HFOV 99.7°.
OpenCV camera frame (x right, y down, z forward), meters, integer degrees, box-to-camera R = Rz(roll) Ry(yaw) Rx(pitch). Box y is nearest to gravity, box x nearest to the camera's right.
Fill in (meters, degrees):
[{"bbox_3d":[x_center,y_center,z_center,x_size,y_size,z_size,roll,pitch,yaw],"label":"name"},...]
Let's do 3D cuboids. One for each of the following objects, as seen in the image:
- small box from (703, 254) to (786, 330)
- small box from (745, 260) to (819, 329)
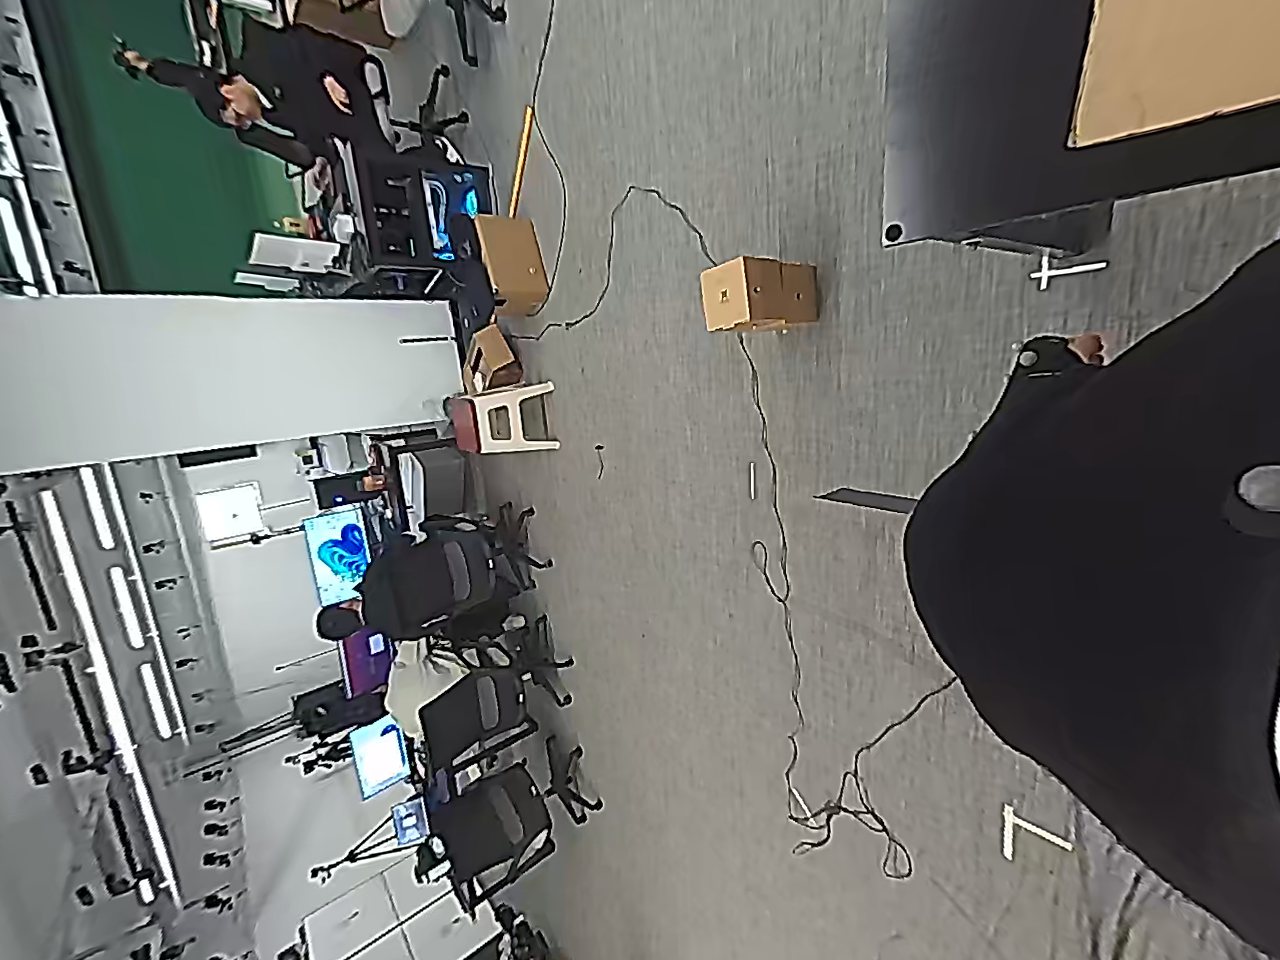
[{"bbox_3d":[0.310,-0.546,1.583,0.168,0.176,0.179,1,101,52],"label":"small box"},{"bbox_3d":[0.437,-0.571,1.681,0.168,0.176,0.179,6,106,52],"label":"small box"}]
